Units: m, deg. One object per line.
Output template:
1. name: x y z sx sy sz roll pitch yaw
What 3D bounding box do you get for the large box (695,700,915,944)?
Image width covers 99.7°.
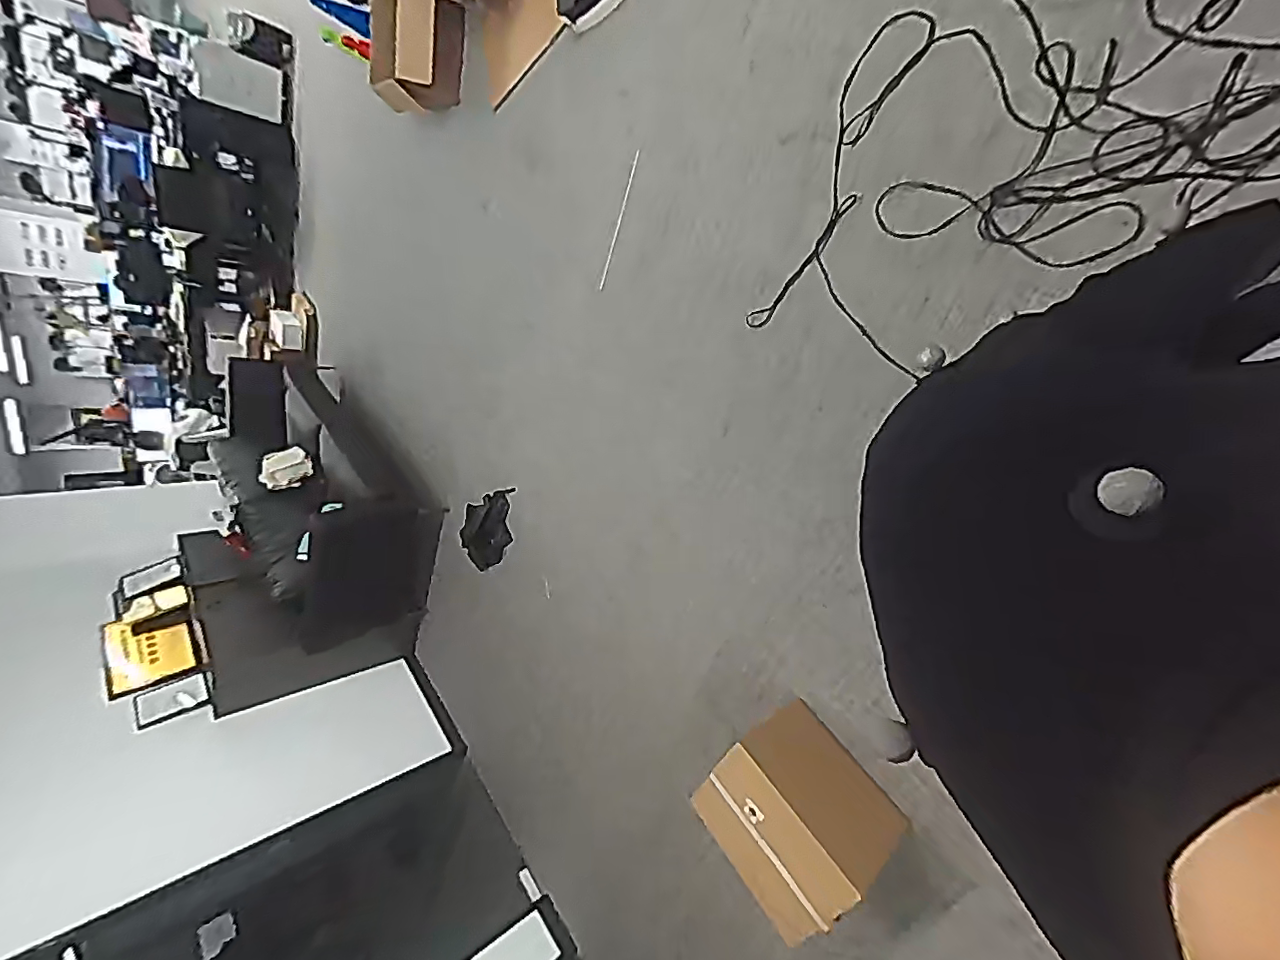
1. large box: 0.434 0.896 1.462 0.408 0.320 0.320 47 125 33
